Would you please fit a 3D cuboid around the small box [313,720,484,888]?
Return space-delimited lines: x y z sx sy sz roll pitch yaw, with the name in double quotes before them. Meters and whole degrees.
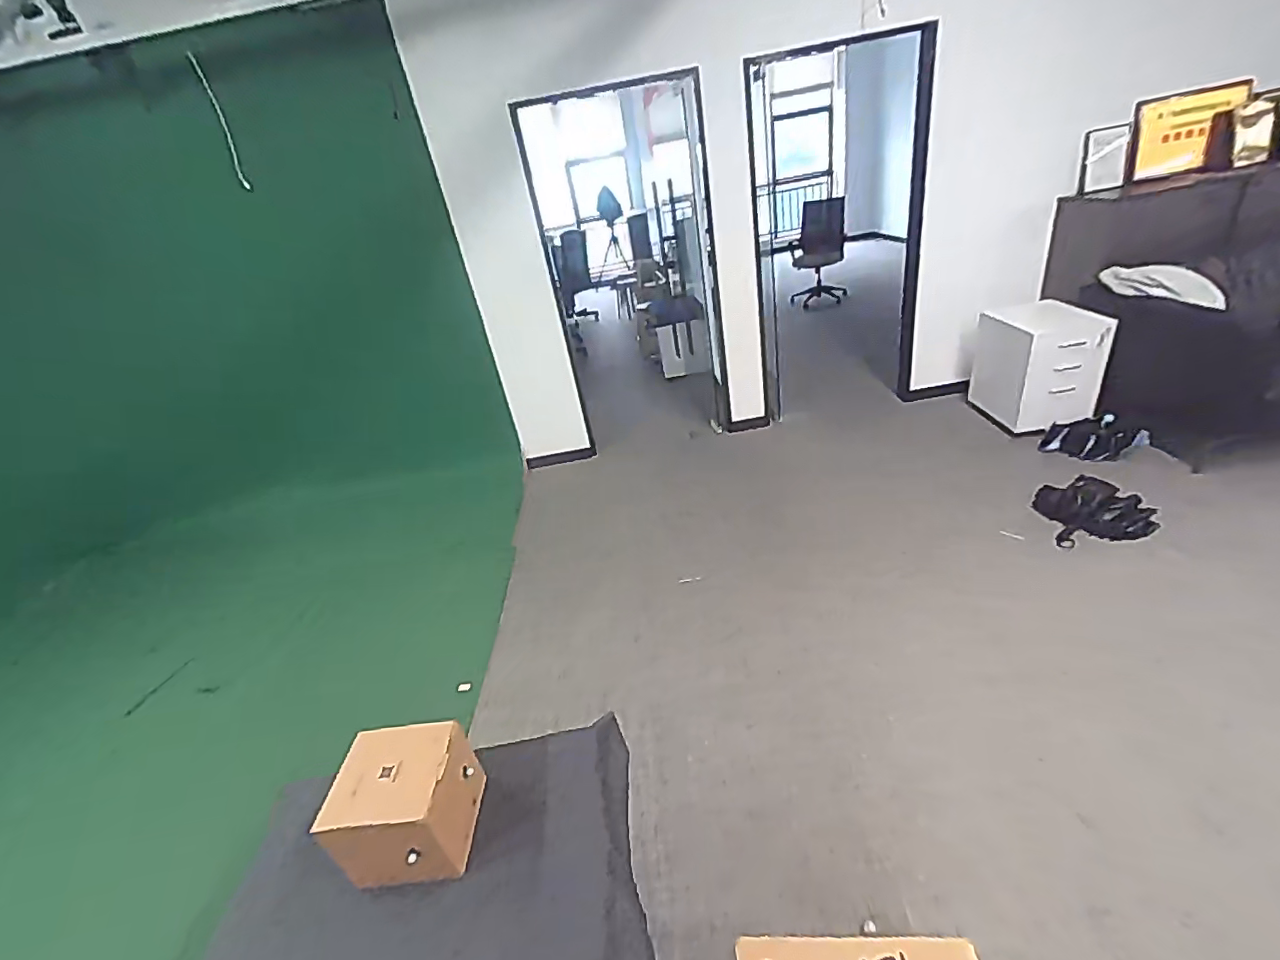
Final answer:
"small box" -0.373 0.523 0.877 0.179 0.176 0.168 -10 27 4
